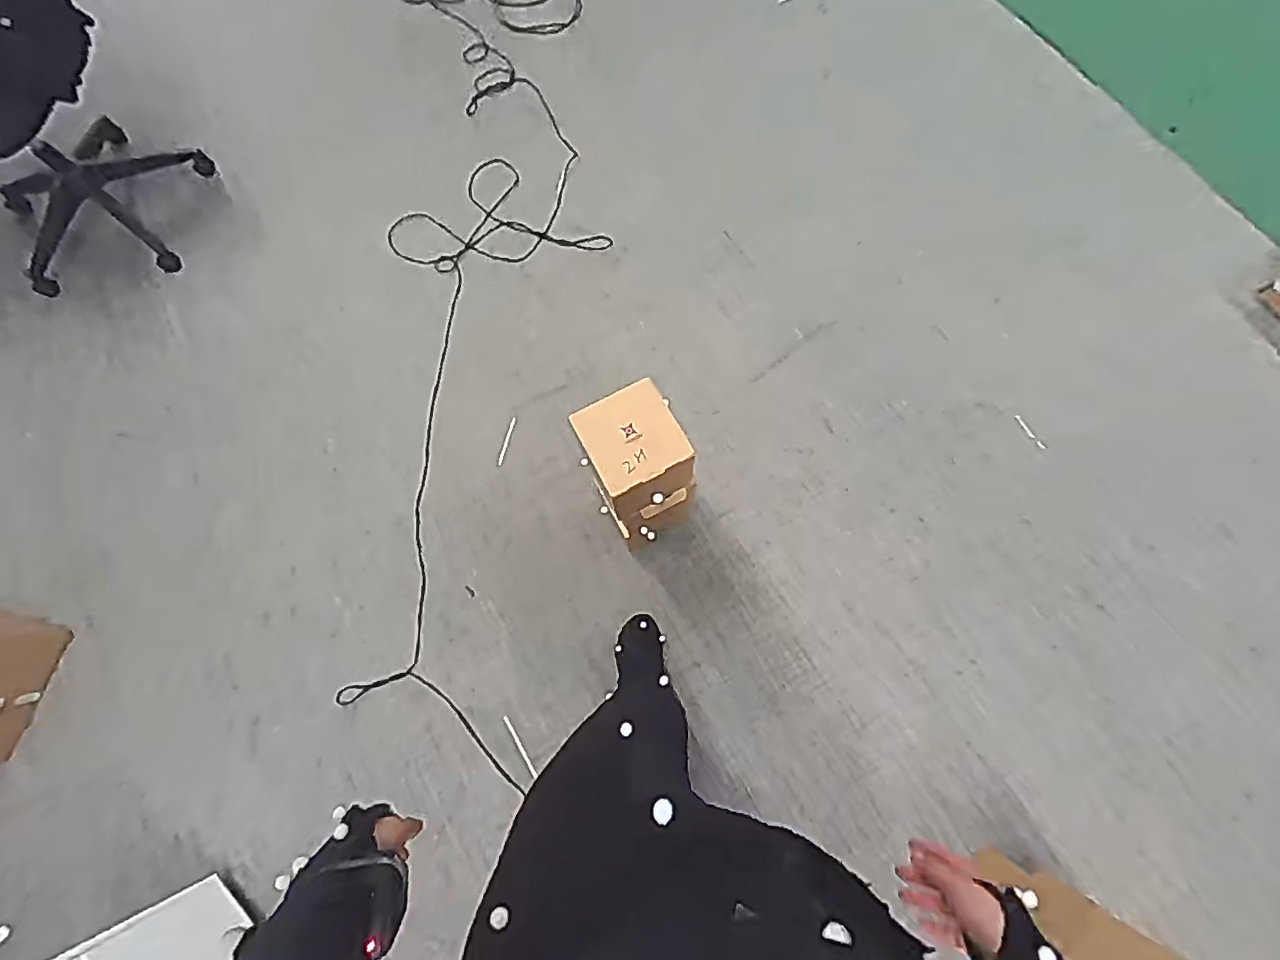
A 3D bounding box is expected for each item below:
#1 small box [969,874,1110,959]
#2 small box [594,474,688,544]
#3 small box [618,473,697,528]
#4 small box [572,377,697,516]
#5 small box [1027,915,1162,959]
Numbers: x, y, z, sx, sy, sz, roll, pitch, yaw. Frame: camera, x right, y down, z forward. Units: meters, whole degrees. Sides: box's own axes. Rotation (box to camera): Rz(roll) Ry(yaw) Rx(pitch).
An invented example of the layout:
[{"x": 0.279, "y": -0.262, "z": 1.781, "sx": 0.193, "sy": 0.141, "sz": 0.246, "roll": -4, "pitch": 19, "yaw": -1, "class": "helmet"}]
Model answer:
[{"x": 0.715, "y": 0.826, "z": 0.916, "sx": 0.168, "sy": 0.176, "sz": 0.179, "roll": -31, "pitch": 74, "yaw": -8, "class": "small box"}, {"x": 0.005, "y": 0.045, "z": 1.332, "sx": 0.168, "sy": 0.176, "sz": 0.179, "roll": -28, "pitch": 74, "yaw": -6, "class": "small box"}, {"x": 0.010, "y": -0.008, "z": 1.176, "sx": 0.168, "sy": 0.176, "sz": 0.179, "roll": -27, "pitch": 73, "yaw": -7, "class": "small box"}, {"x": -0.010, "y": -0.055, "z": 1.019, "sx": 0.168, "sy": 0.176, "sz": 0.179, "roll": -27, "pitch": 74, "yaw": -6, "class": "small box"}, {"x": 0.701, "y": 0.778, "z": 0.759, "sx": 0.168, "sy": 0.176, "sz": 0.179, "roll": -31, "pitch": 76, "yaw": -8, "class": "small box"}]
